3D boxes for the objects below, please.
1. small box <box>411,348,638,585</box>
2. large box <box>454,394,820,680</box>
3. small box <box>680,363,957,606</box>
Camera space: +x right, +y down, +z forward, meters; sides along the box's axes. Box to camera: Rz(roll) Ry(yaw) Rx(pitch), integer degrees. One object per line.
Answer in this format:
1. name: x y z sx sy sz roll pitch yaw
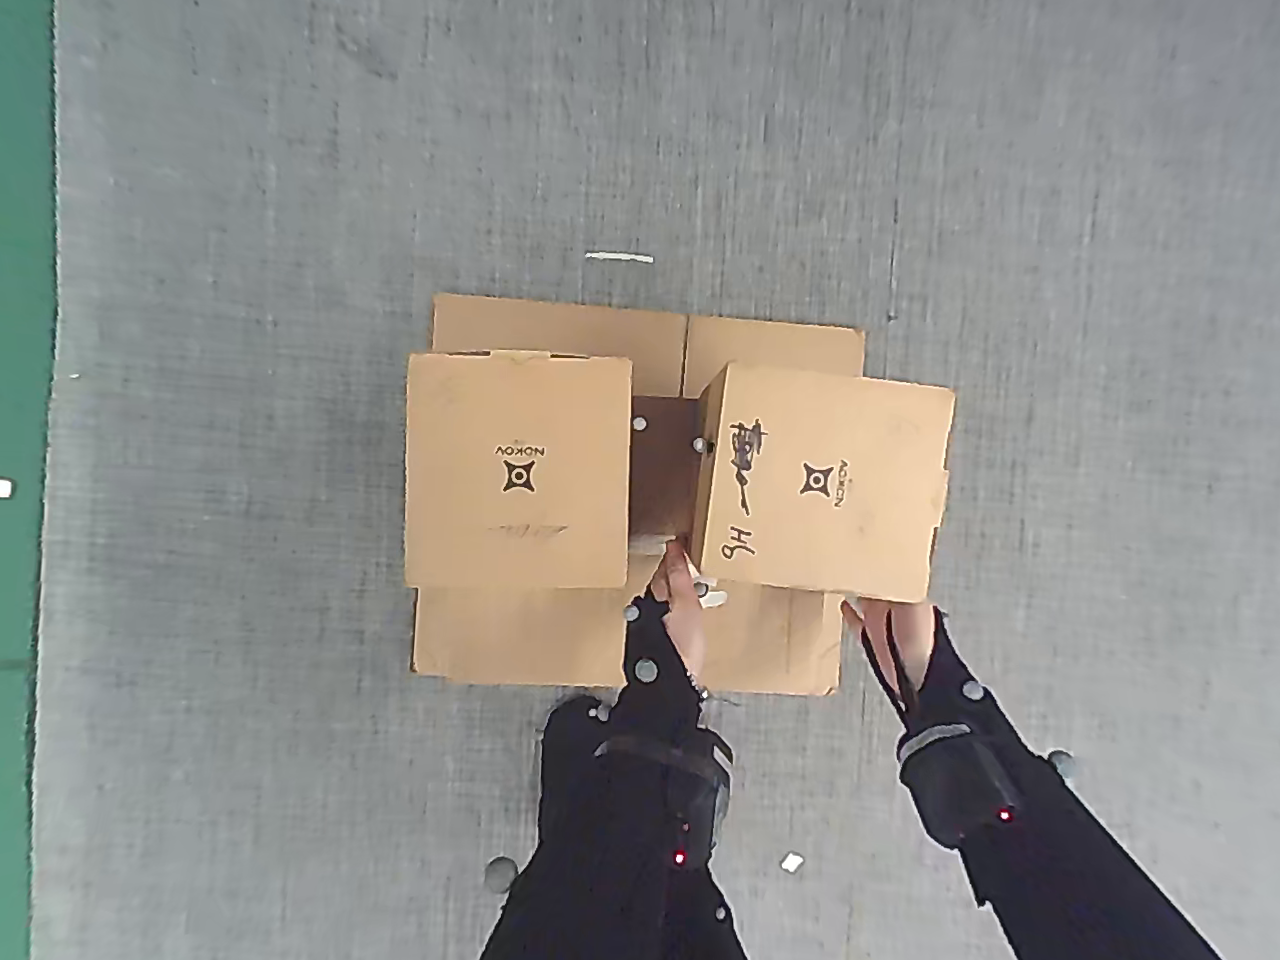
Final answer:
1. small box: -0.089 -0.010 0.479 0.168 0.176 0.179 0 91 -2
2. large box: -0.008 0.060 0.728 0.408 0.320 0.320 2 92 -4
3. small box: 0.141 0.002 0.488 0.179 0.176 0.168 8 90 -2
